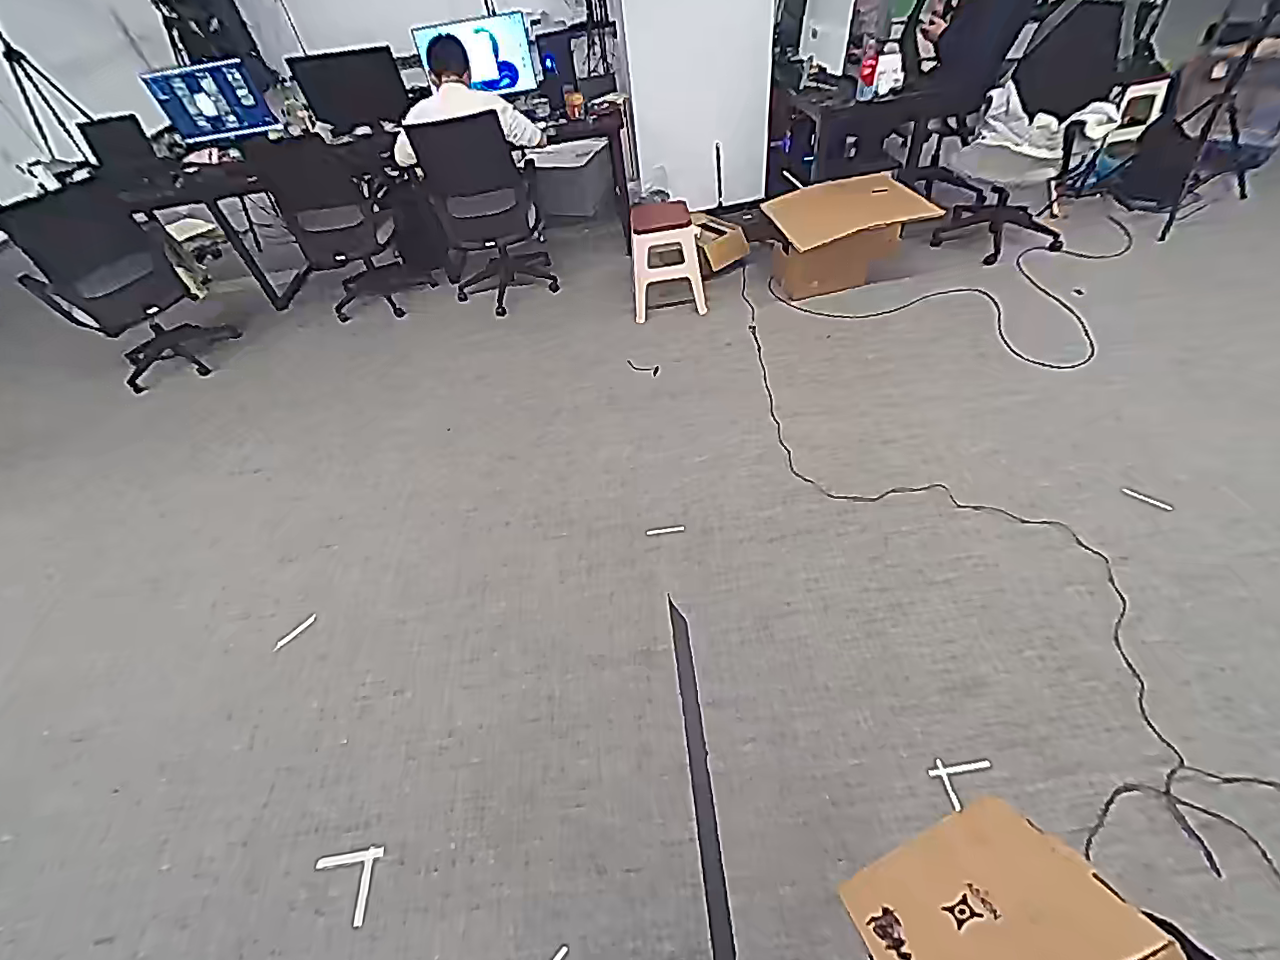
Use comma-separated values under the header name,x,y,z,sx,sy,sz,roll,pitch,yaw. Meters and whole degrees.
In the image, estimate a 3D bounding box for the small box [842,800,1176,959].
name,x,y,z,sx,sy,sz,roll,pitch,yaw
small box,0.303,0.414,0.432,0.179,0.168,0.176,-27,90,-2
